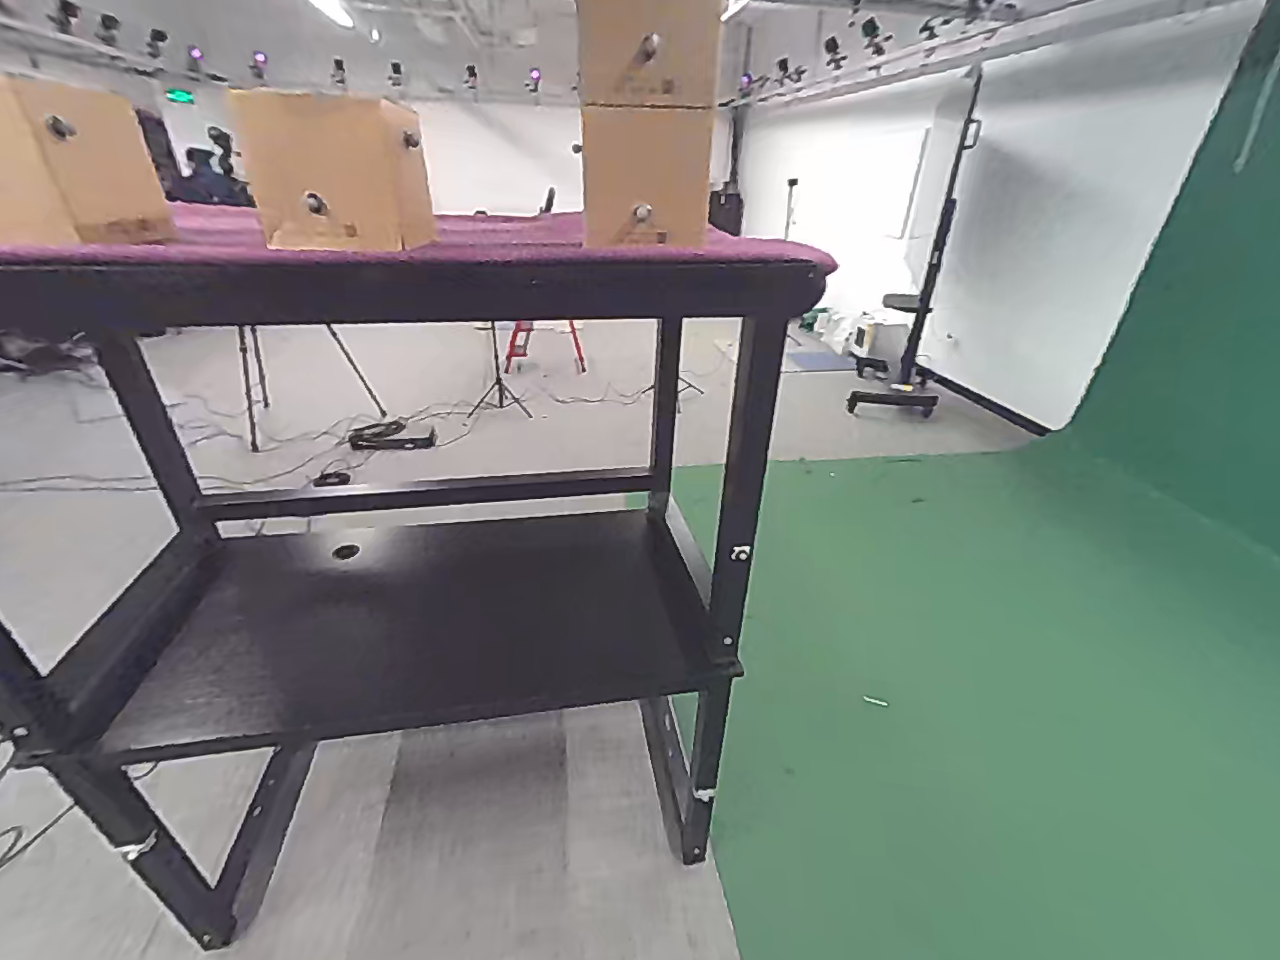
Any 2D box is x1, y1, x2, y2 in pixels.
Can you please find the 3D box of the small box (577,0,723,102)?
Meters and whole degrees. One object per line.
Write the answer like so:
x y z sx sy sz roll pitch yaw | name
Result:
0.005 -0.567 0.677 0.168 0.176 0.179 -3 30 -4 | small box

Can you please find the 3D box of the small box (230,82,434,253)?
-0.379 -0.400 0.707 0.168 0.176 0.179 -2 29 -5 | small box

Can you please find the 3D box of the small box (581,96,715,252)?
0.003 -0.424 0.758 0.168 0.176 0.179 -2 31 -4 | small box
